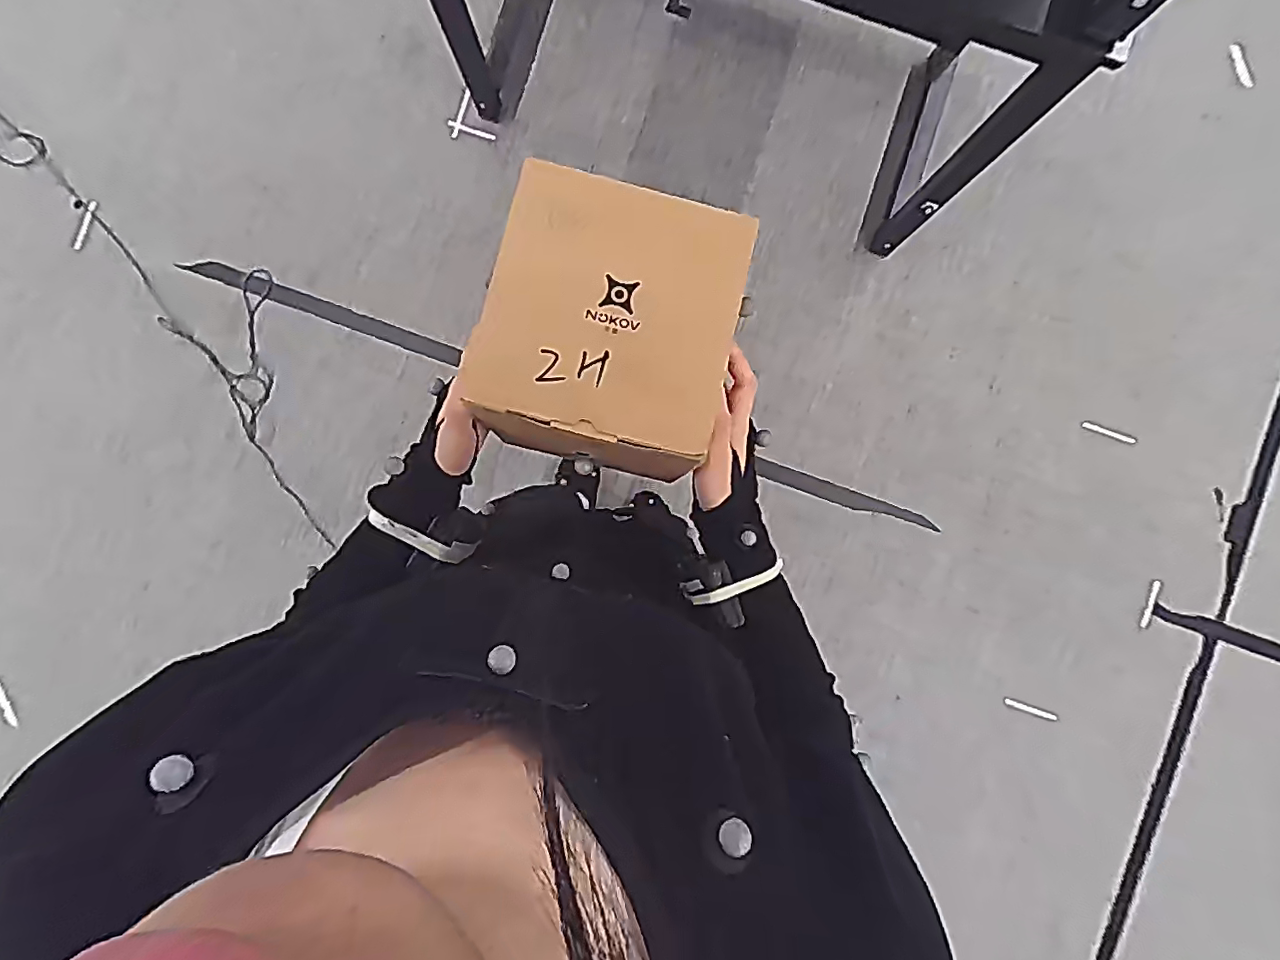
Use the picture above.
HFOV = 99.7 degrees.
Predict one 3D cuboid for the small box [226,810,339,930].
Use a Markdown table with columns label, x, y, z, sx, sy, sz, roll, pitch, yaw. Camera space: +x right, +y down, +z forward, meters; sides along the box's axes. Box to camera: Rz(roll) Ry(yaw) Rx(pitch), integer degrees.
| label | x | y | z | sx | sy | sz | roll | pitch | yaw |
| --- | --- | --- | --- | --- | --- | --- | --- | --- | --- |
| small box | -0.908 | 0.993 | 1.391 | 0.168 | 0.176 | 0.179 | 12 | 90 | -1 |

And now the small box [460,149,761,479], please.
| label | x | y | z | sx | sy | sz | roll | pitch | yaw |
| --- | --- | --- | --- | --- | --- | --- | --- | --- | --- |
| small box | -0.022 | -0.108 | 0.430 | 0.168 | 0.176 | 0.179 | 14 | 84 | -3 |
